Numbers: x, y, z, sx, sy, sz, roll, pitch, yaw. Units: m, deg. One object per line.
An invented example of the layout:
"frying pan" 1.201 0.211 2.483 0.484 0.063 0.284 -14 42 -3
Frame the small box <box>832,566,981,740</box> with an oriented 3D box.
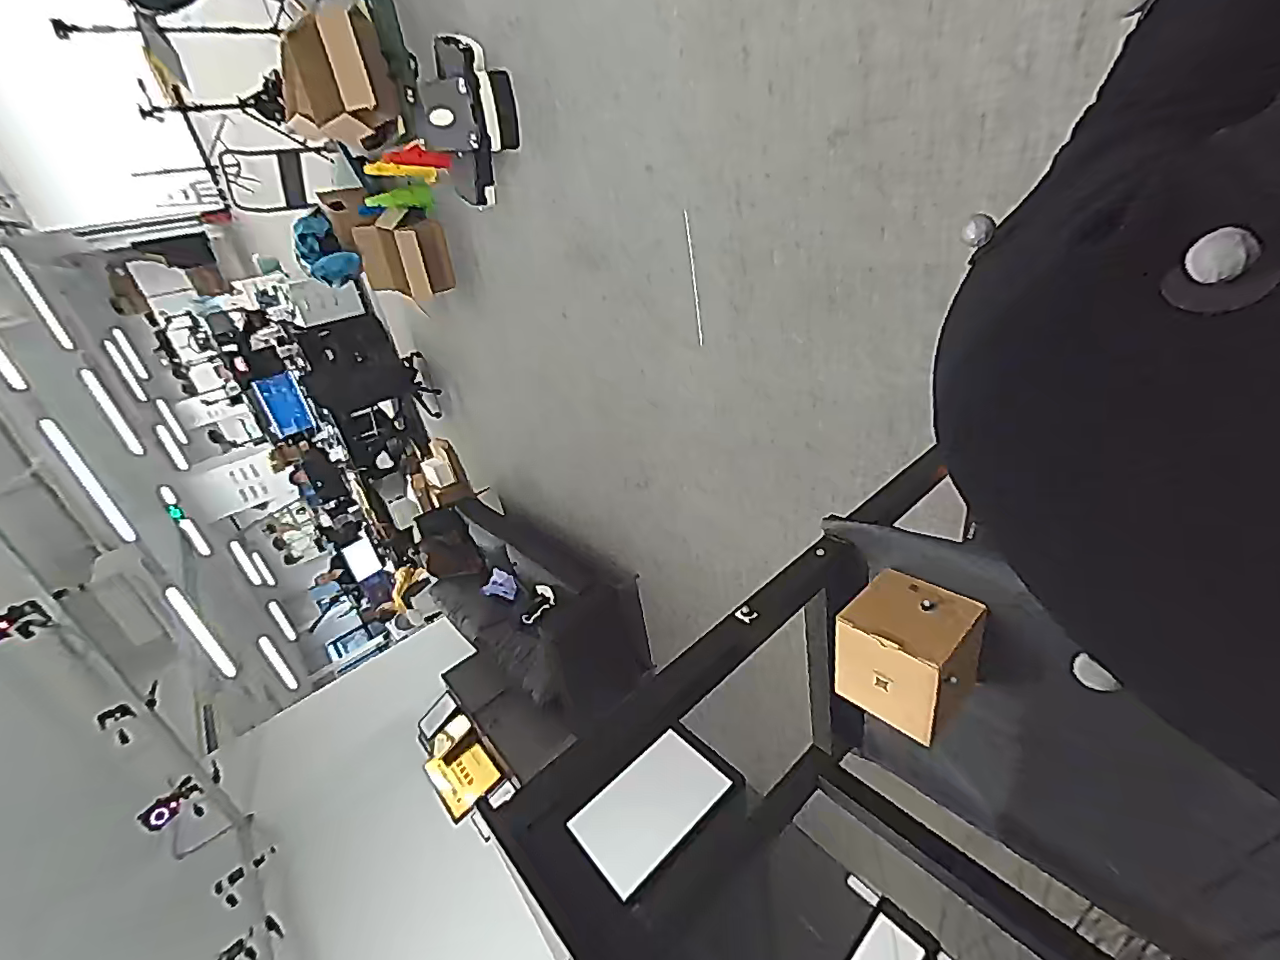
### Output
"small box" 0.439 0.277 0.898 0.168 0.176 0.179 22 131 46
